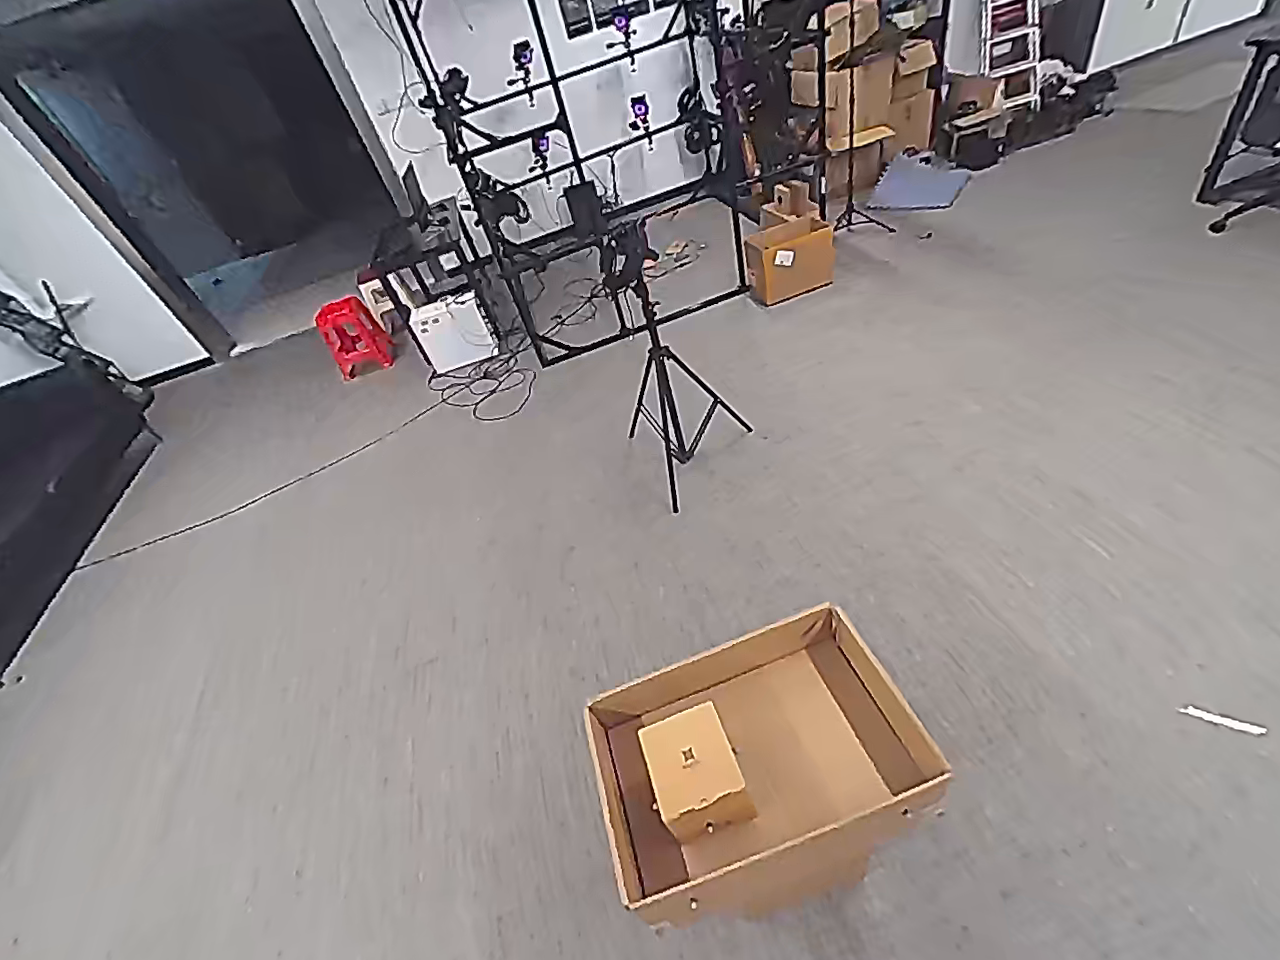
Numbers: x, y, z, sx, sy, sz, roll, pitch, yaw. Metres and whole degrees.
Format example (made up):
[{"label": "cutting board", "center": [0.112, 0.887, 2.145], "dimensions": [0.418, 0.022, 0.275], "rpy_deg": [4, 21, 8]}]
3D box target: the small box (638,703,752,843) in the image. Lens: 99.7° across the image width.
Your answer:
[{"label": "small box", "center": [0.111, 0.593, 1.093], "dimensions": [0.168, 0.176, 0.179], "rpy_deg": [-22, 42, -3]}]
